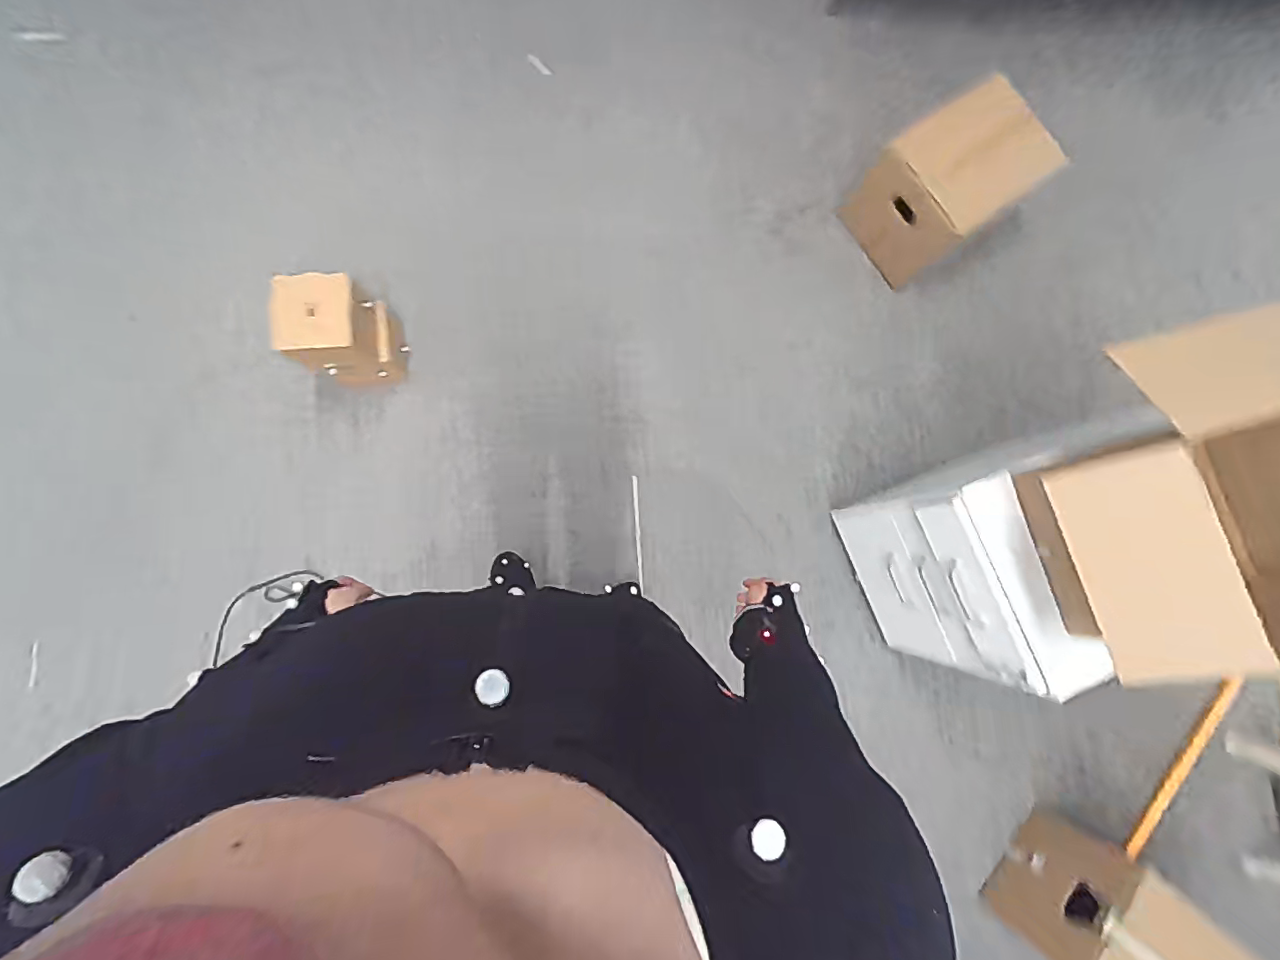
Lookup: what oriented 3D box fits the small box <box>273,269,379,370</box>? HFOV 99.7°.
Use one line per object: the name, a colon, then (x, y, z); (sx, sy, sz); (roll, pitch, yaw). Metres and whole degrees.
small box: (-0.728, -0.372, 1.270); (0.168, 0.176, 0.179); (-4, 84, -6)
